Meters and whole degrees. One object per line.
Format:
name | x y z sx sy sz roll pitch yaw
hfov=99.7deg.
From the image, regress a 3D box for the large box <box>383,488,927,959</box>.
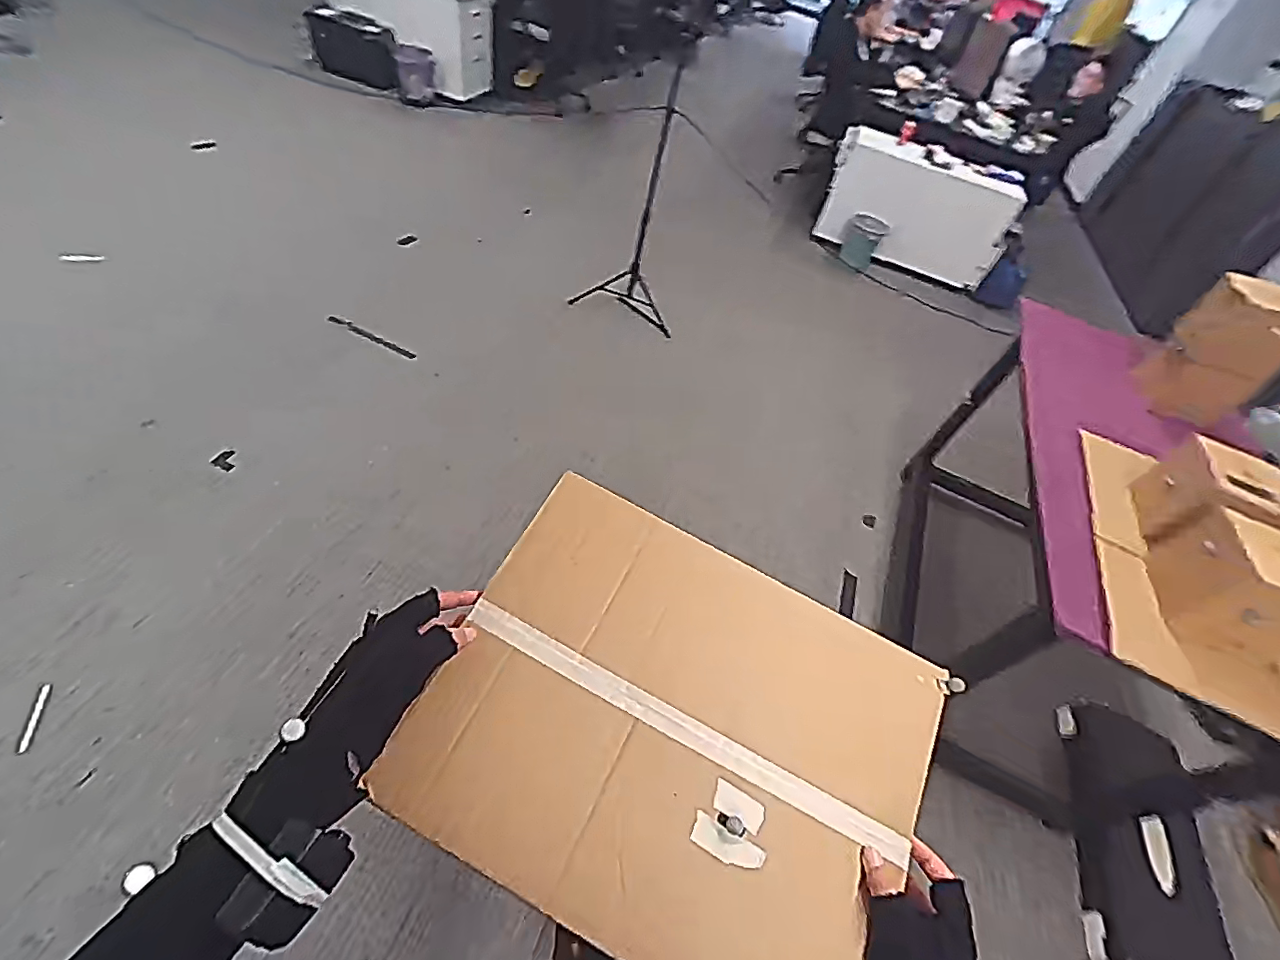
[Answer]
large box | 0.016 0.274 0.606 0.408 0.320 0.320 28 65 6
